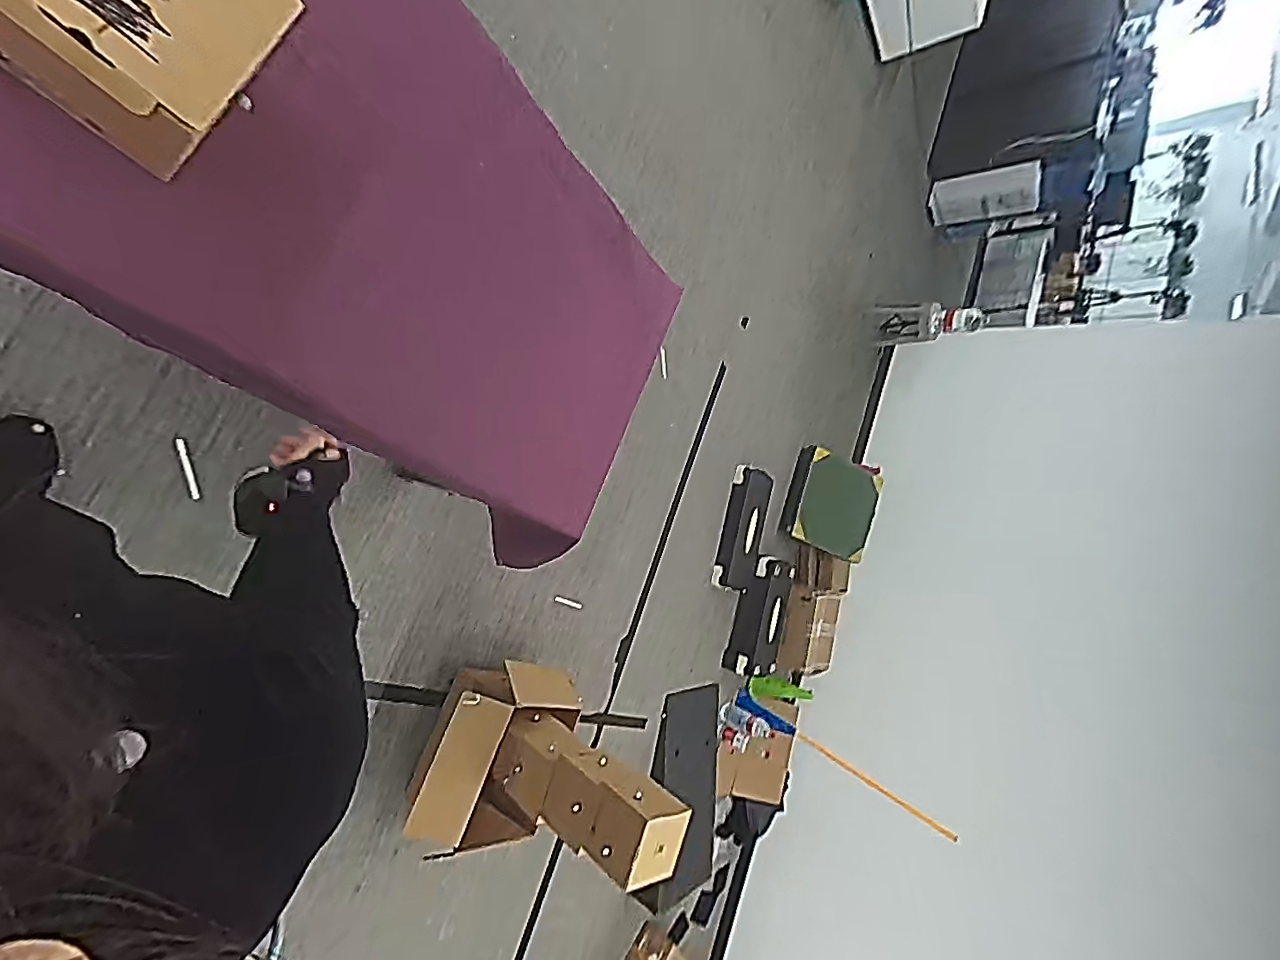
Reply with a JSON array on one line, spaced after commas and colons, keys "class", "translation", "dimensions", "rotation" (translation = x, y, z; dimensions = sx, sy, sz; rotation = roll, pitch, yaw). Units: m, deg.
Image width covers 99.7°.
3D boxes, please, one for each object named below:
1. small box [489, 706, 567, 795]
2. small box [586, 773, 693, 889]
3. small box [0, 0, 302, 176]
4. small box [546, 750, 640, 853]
[{"class": "small box", "translation": [-0.352, 0.826, 1.680], "dimensions": [0.168, 0.176, 0.179], "rotation": [3, 98, -46]}, {"class": "small box", "translation": [-0.005, 0.849, 1.328], "dimensions": [0.179, 0.176, 0.168], "rotation": [24, 82, -45]}, {"class": "small box", "translation": [-0.455, -0.415, 0.488], "dimensions": [0.168, 0.176, 0.179], "rotation": [39, 67, -46]}, {"class": "small box", "translation": [-0.125, 0.841, 1.440], "dimensions": [0.168, 0.176, 0.179], "rotation": [23, 83, -44]}]
